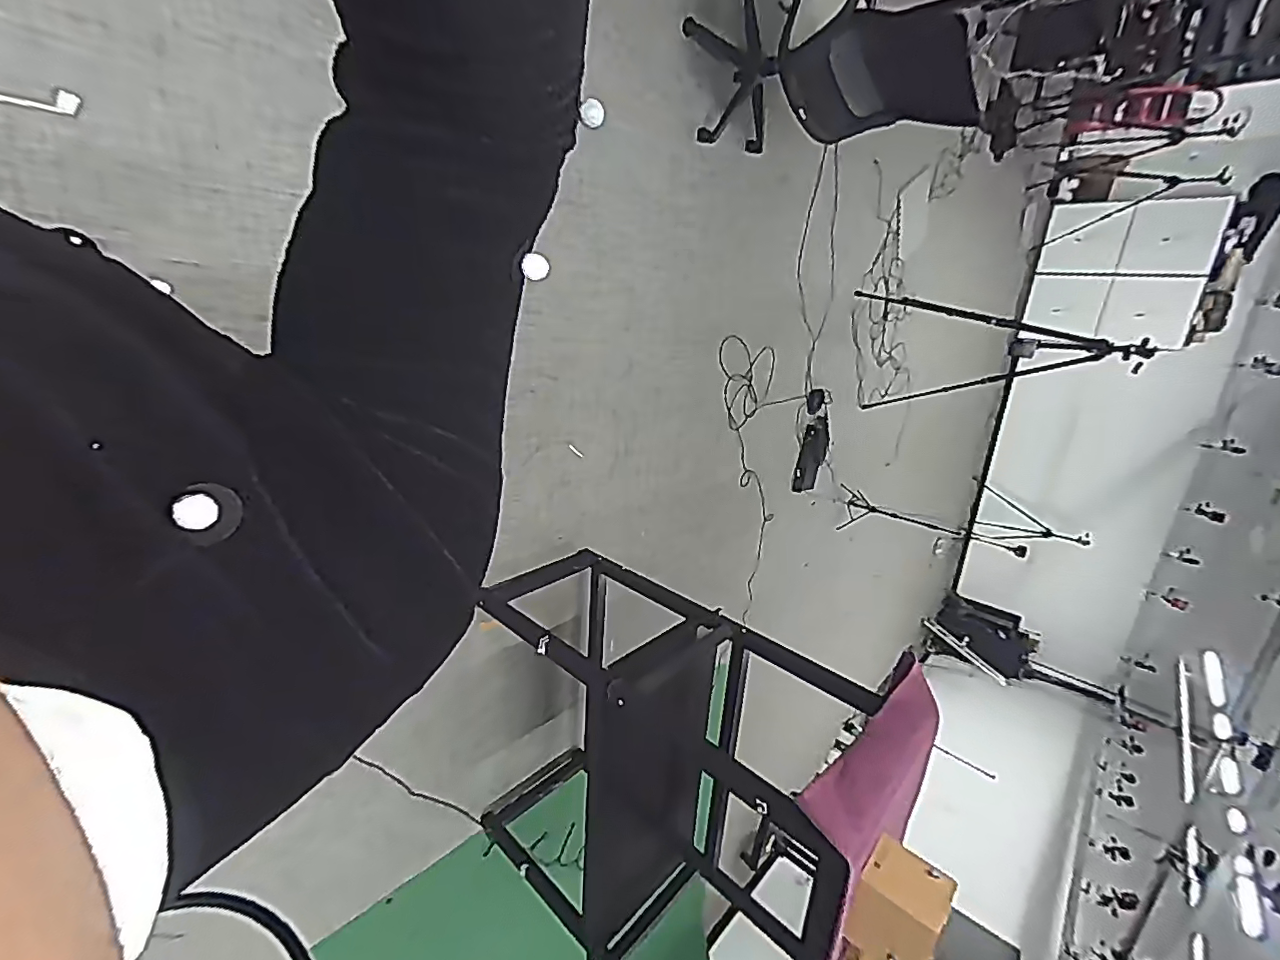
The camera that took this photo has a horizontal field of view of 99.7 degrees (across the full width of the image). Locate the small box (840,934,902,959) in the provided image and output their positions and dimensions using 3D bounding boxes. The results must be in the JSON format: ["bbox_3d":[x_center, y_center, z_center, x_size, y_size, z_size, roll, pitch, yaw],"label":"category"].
[{"bbox_3d":[0.557,1.252,1.298,0.168,0.176,0.179,-11,111,-46],"label":"small box"}]
